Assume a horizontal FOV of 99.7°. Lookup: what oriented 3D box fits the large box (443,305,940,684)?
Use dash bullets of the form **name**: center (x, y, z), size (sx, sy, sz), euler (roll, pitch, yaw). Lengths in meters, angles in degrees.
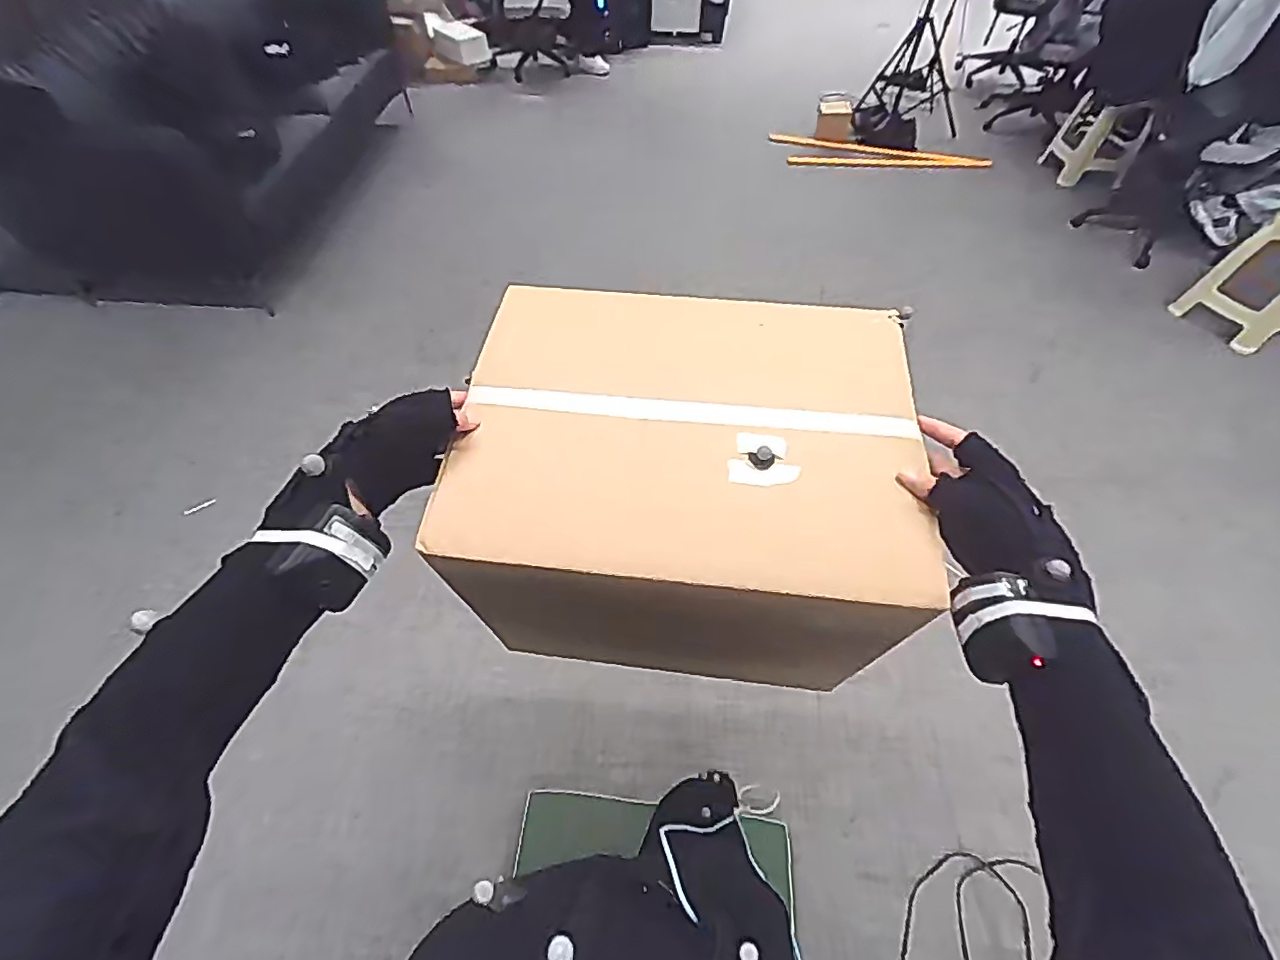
- **large box**: center (0.049, 0.030, 0.628), size (0.408, 0.320, 0.320), euler (5, 59, 4)
